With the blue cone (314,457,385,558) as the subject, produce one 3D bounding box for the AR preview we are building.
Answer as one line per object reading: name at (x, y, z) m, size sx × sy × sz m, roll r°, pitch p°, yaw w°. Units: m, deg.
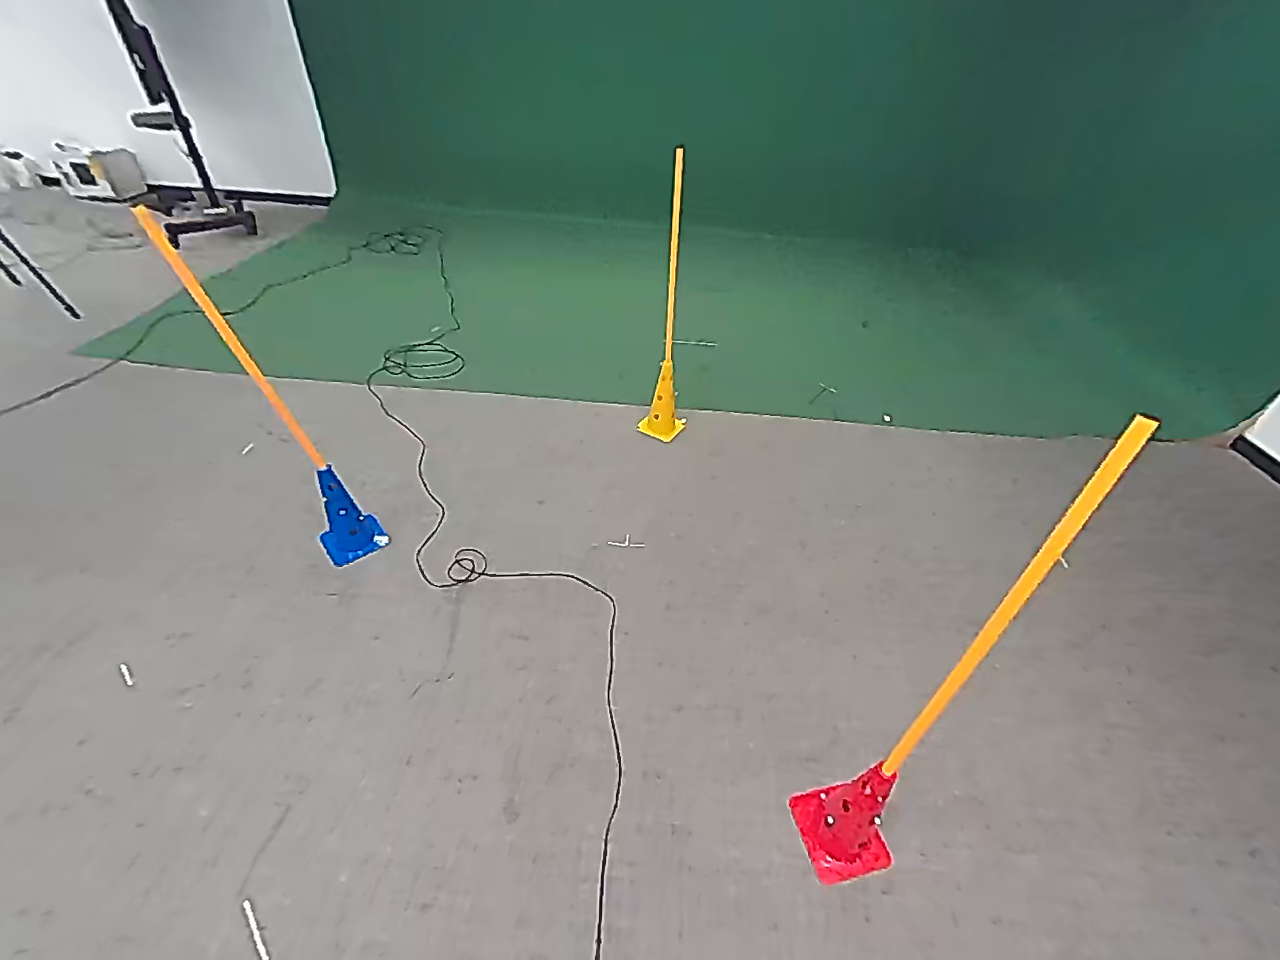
blue cone at (-1.054, 0.080, 1.891) m, size 0.193 × 0.380 × 0.192 m, roll -30°, pitch 52°, yaw -31°
